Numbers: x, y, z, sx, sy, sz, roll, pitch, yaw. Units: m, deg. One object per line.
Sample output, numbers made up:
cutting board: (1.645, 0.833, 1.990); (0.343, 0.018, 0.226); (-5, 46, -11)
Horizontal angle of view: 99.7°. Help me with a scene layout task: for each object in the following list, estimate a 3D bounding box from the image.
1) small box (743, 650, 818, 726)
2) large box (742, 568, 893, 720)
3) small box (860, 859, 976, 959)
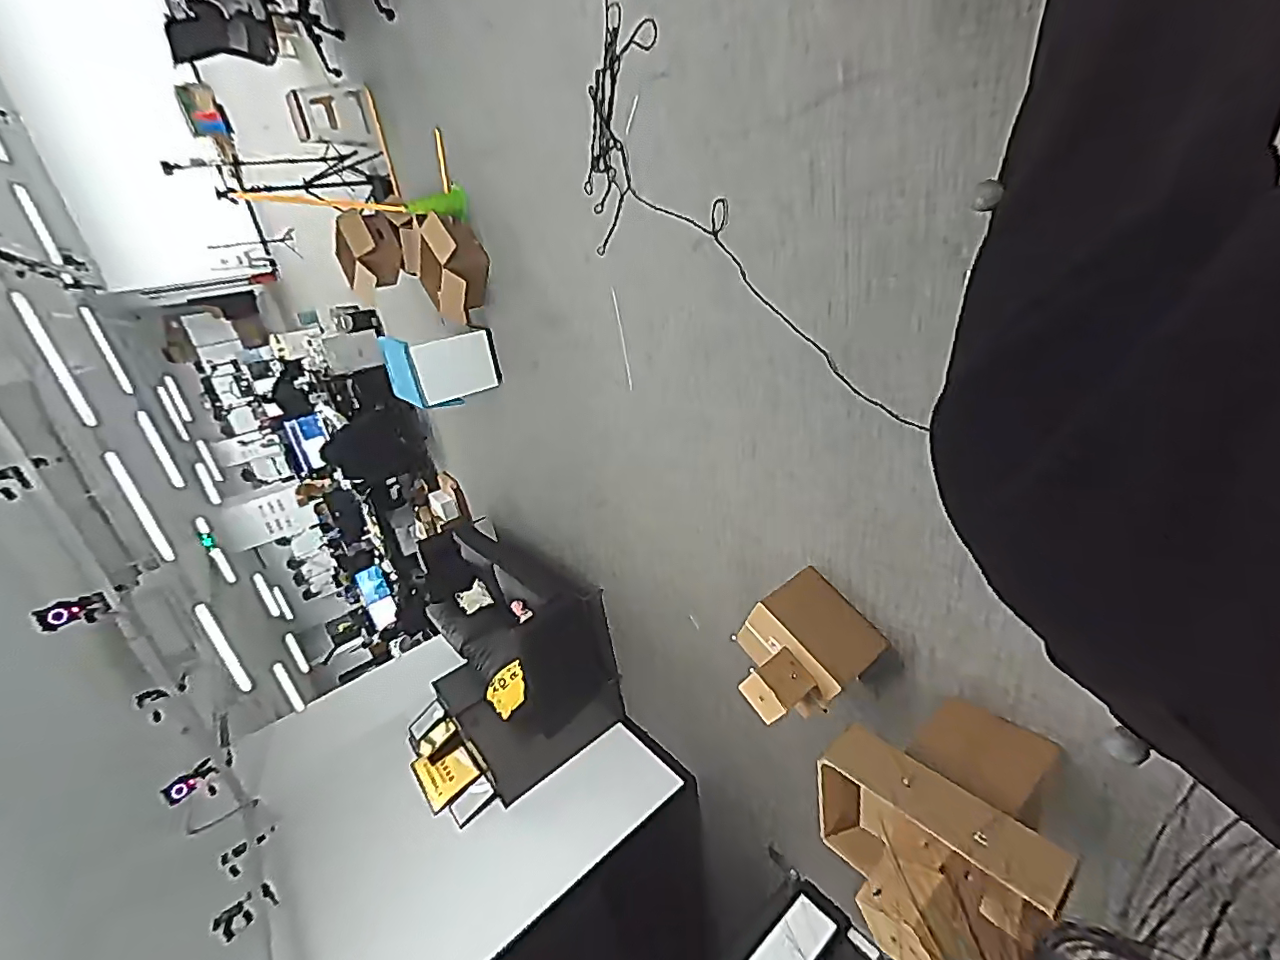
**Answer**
small box: (0.509, 0.748, 1.953); (0.168, 0.176, 0.179); (50, 146, 24)
large box: (0.673, 0.625, 2.090); (0.408, 0.320, 0.320); (48, 145, 29)
small box: (0.712, 1.123, 1.385); (0.179, 0.176, 0.168); (-29, 87, 58)
